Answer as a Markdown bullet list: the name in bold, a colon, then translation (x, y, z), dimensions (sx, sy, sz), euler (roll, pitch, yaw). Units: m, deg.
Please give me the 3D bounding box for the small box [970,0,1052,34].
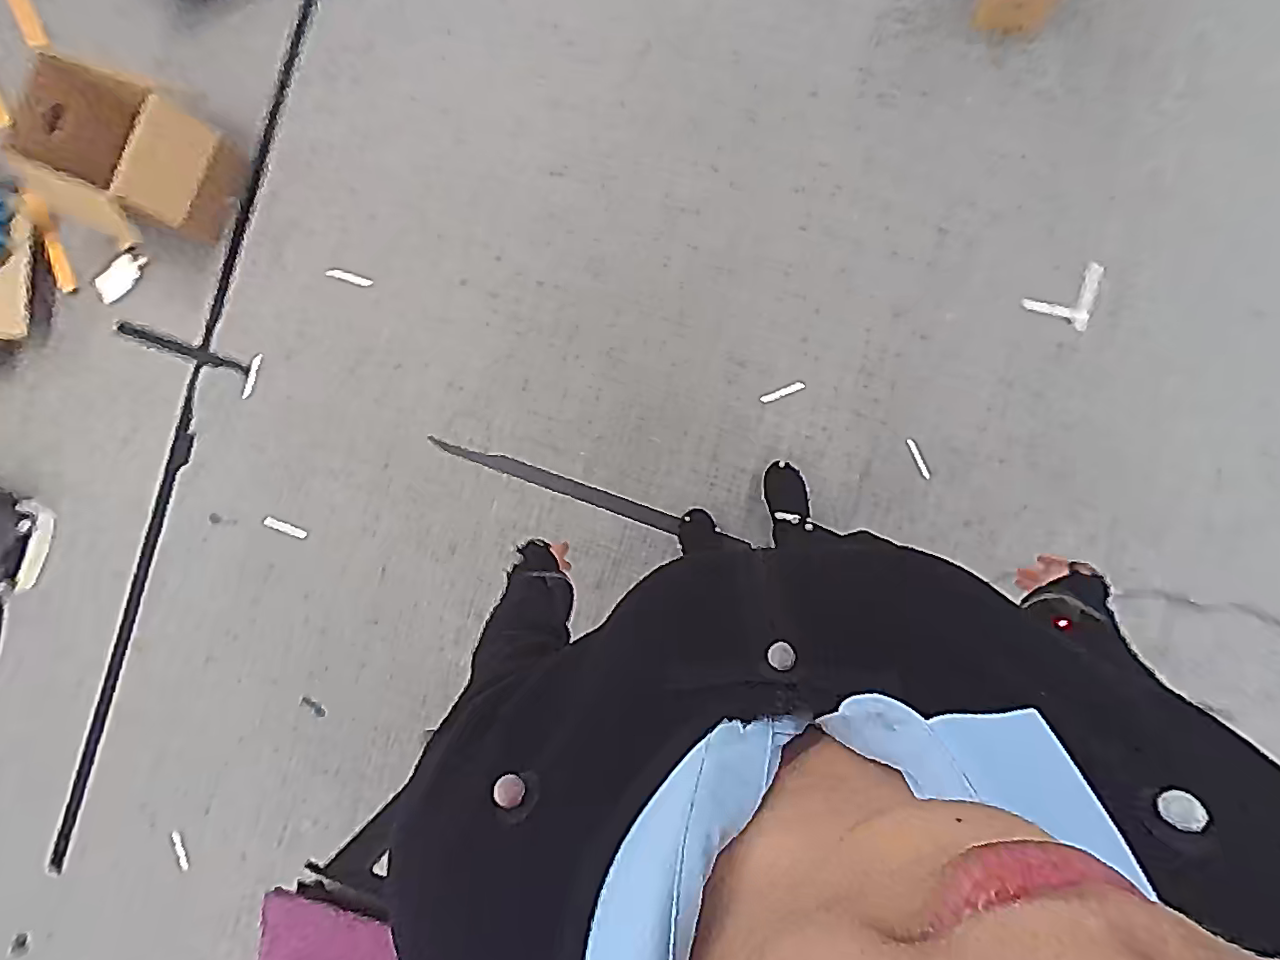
- **small box**: translation (0.957, -1.268, 1.347), dimensions (0.168, 0.176, 0.179), euler (16, 91, 7)
